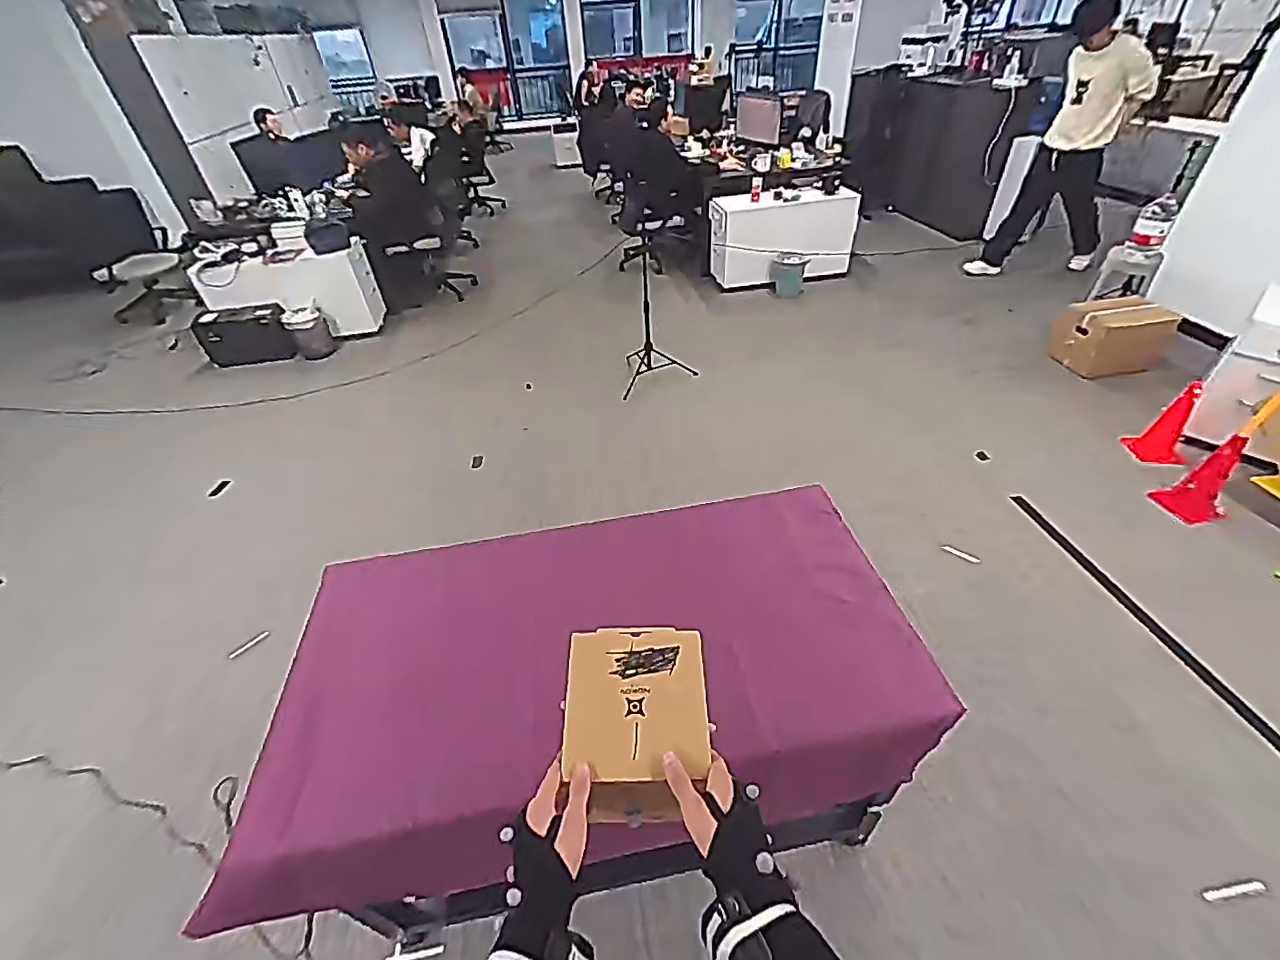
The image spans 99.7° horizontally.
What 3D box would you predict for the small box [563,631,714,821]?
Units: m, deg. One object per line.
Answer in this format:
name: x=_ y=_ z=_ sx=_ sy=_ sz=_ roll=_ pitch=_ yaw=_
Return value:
small box: x=-0.001 y=0.314 z=0.693 sx=0.168 sy=0.176 sz=0.179 roll=-2 pitch=45 yaw=1
